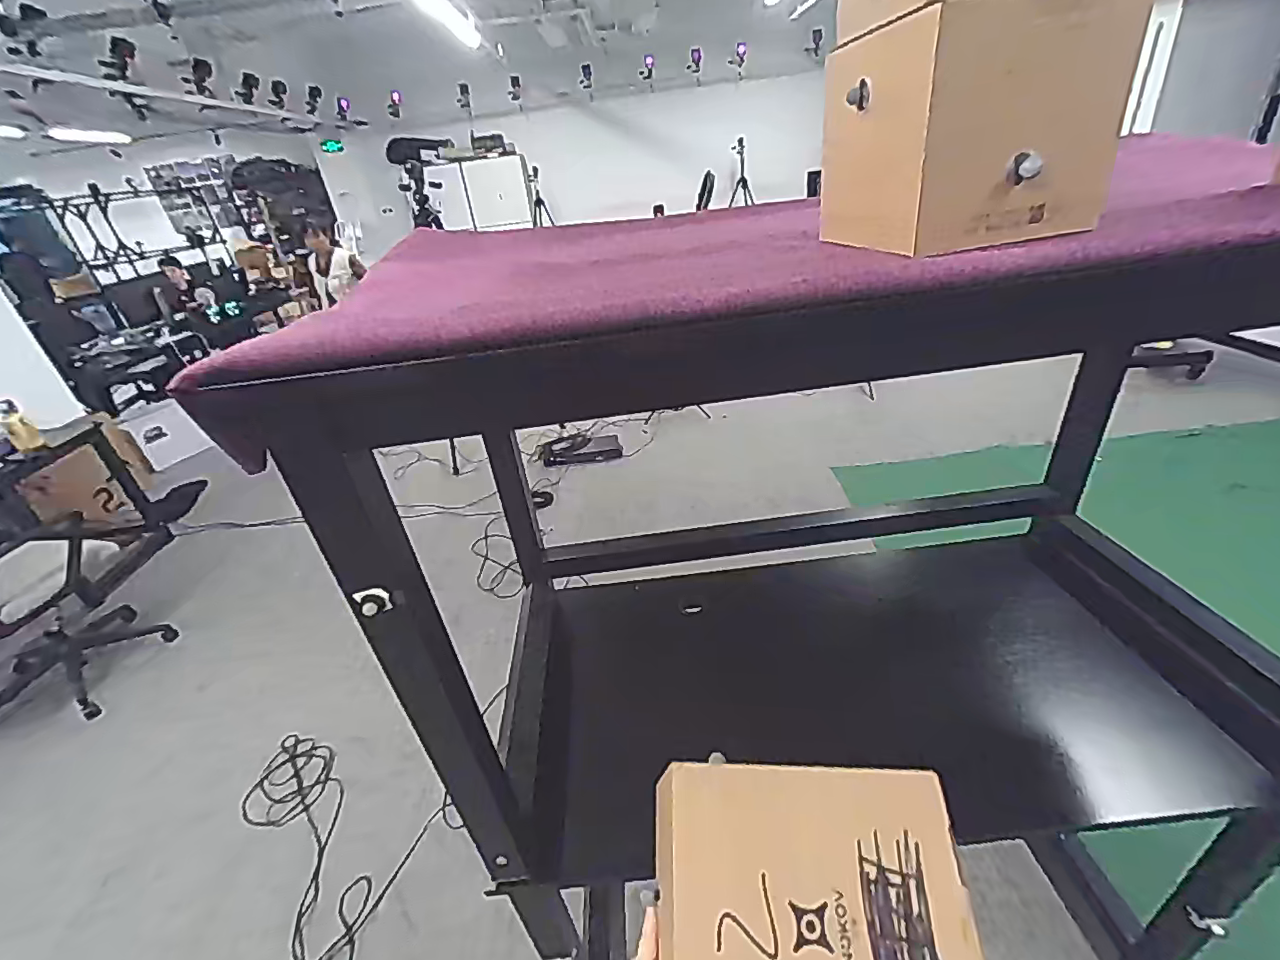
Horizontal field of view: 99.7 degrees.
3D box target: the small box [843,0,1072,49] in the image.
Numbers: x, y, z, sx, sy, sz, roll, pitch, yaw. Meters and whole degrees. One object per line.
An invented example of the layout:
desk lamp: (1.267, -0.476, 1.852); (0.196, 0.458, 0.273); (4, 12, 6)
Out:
small box: (0.266, -0.448, 0.400); (0.168, 0.176, 0.179); (-8, 31, -1)
